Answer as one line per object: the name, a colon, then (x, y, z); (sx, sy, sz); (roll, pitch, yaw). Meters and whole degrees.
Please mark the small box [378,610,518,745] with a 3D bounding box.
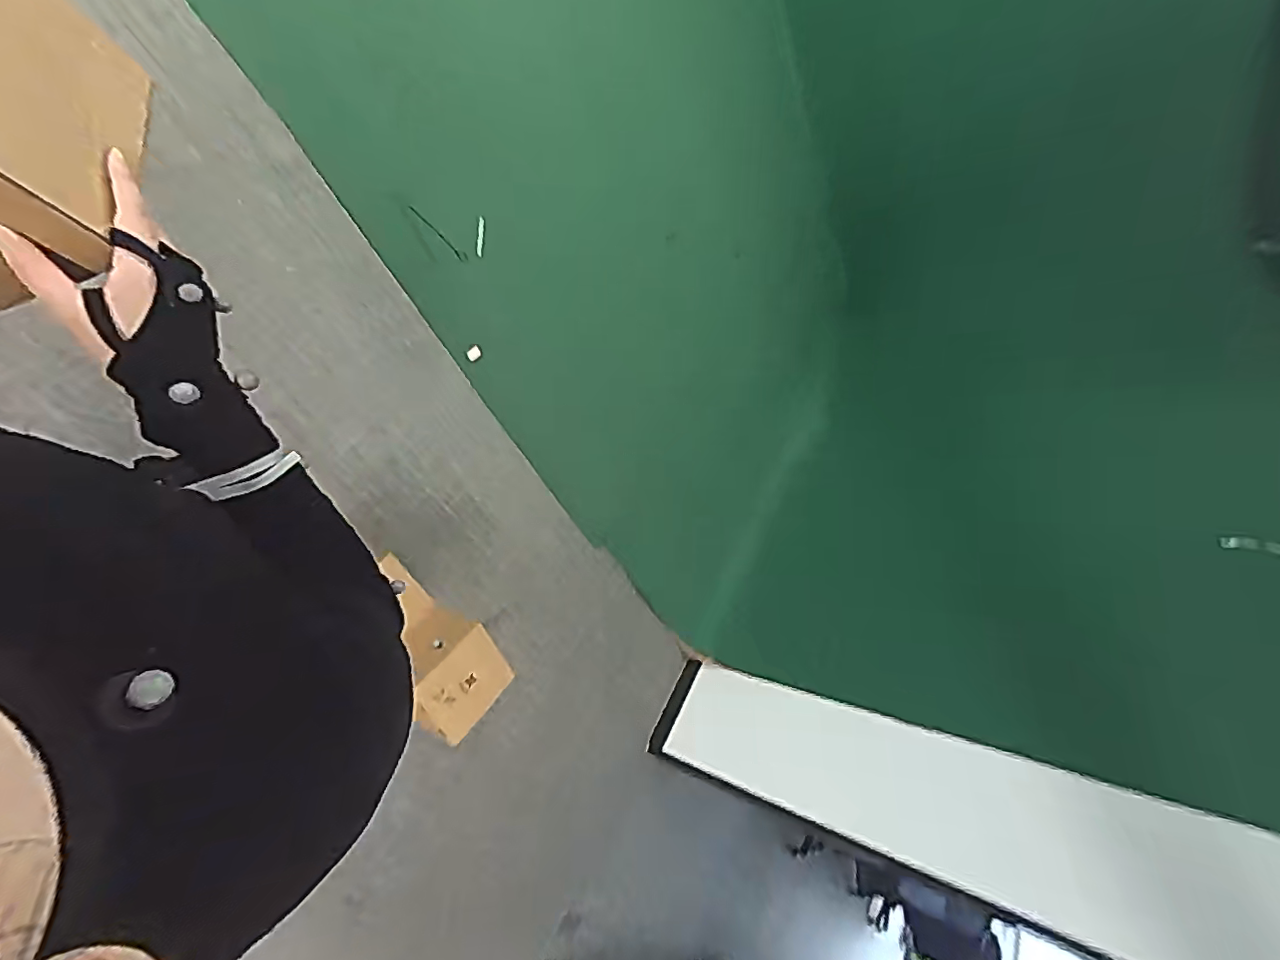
small box: (-0.390, 0.391, 1.103); (0.179, 0.176, 0.168); (-45, 125, -37)
